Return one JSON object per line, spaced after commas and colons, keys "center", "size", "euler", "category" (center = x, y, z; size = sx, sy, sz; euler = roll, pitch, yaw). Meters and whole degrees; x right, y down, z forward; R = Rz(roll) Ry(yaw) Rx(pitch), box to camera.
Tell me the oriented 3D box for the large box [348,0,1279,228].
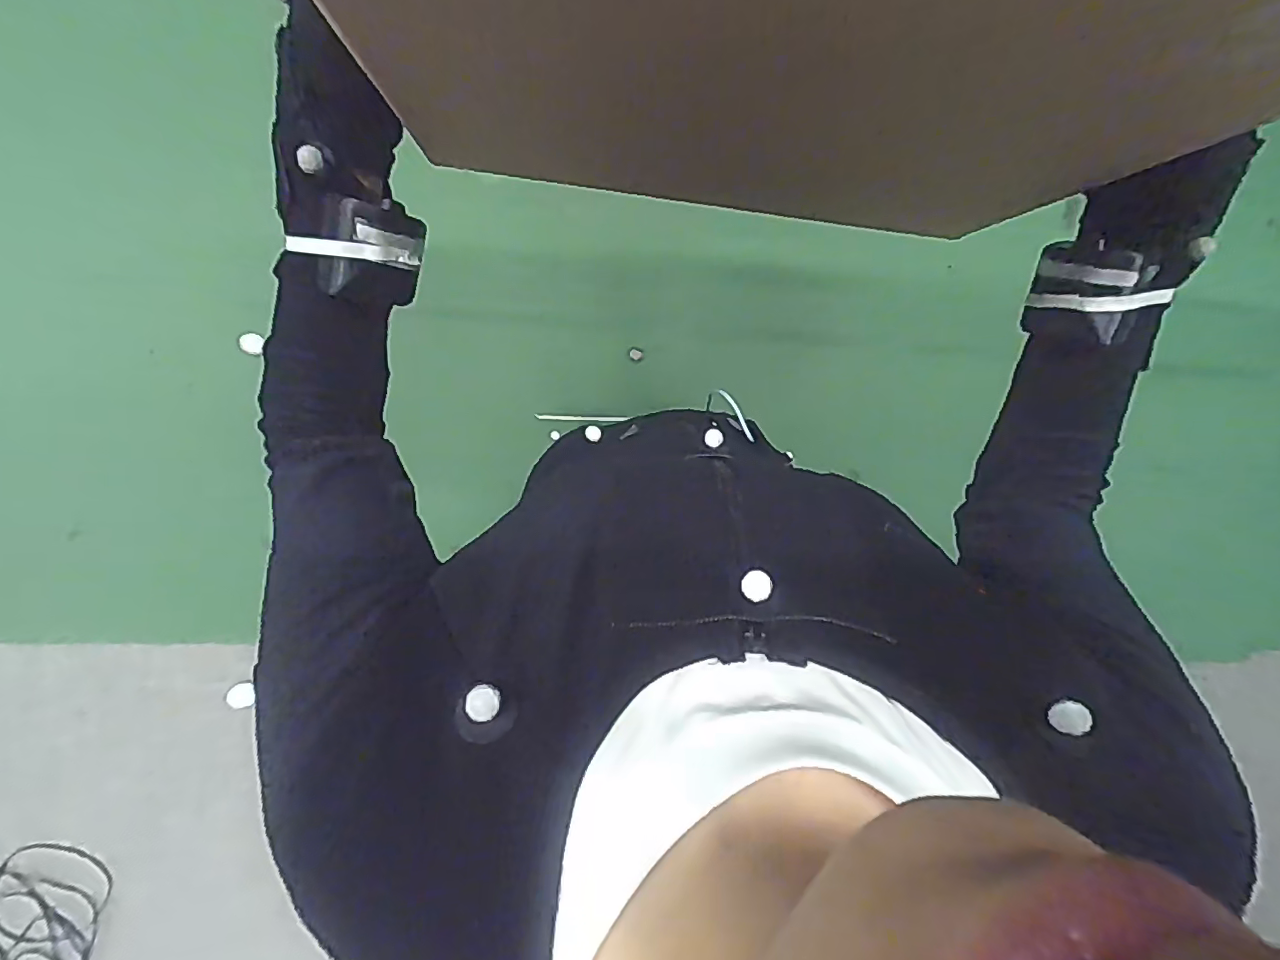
{"center": [0.084, -0.332, 0.231], "size": [0.408, 0.320, 0.320], "euler": [5, 101, -8], "category": "large box"}
